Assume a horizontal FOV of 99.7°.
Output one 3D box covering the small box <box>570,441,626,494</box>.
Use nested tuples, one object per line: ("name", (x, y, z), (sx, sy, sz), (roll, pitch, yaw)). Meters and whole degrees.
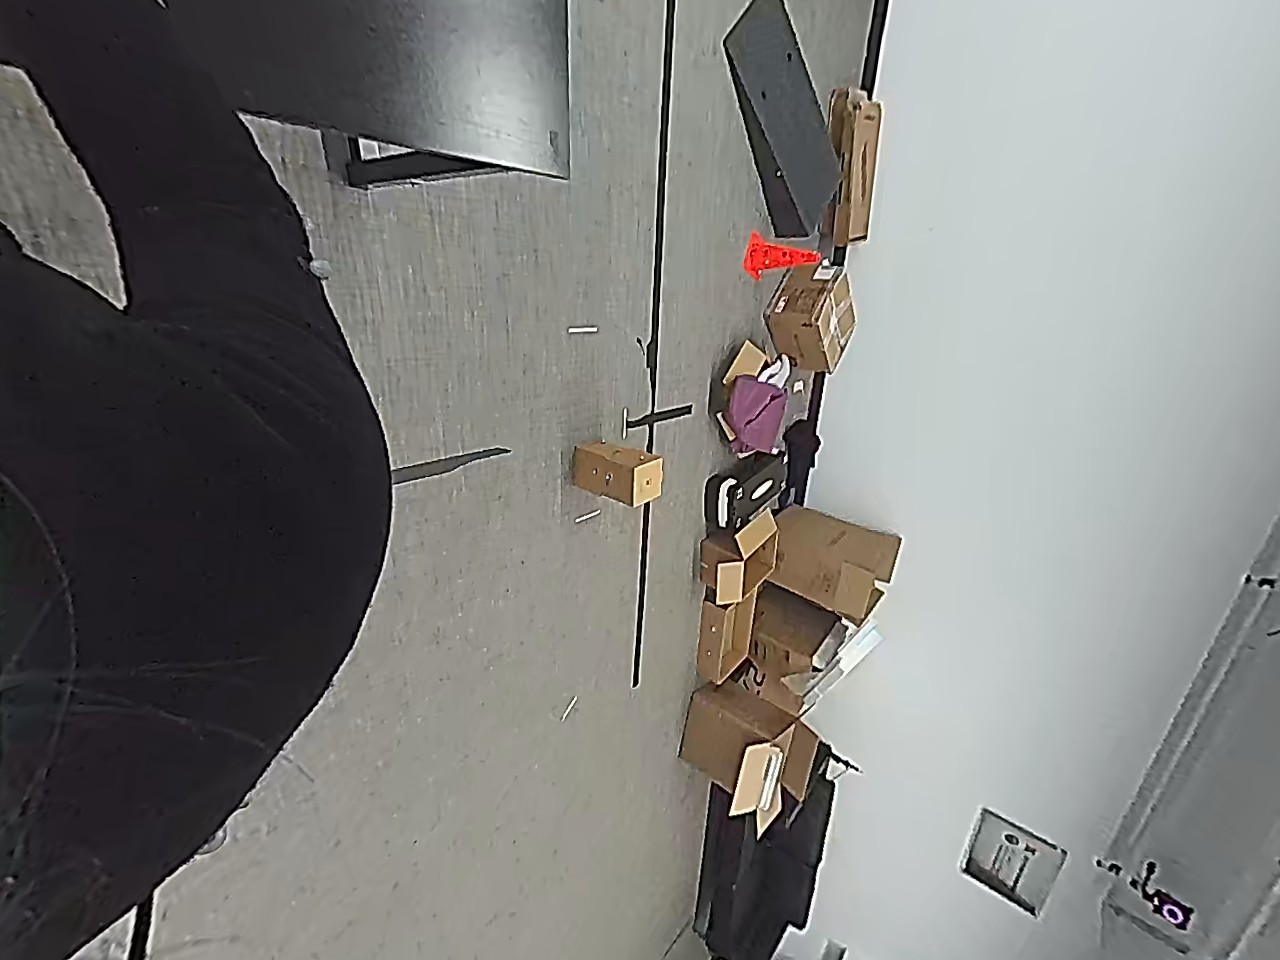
("small box", (-0.174, -0.059, 2.242), (0.168, 0.176, 0.179), (-17, 120, -48))

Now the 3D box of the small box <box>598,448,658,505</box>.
("small box", (-0.048, -0.021, 2.147), (0.179, 0.176, 0.168), (-22, 121, -45))
